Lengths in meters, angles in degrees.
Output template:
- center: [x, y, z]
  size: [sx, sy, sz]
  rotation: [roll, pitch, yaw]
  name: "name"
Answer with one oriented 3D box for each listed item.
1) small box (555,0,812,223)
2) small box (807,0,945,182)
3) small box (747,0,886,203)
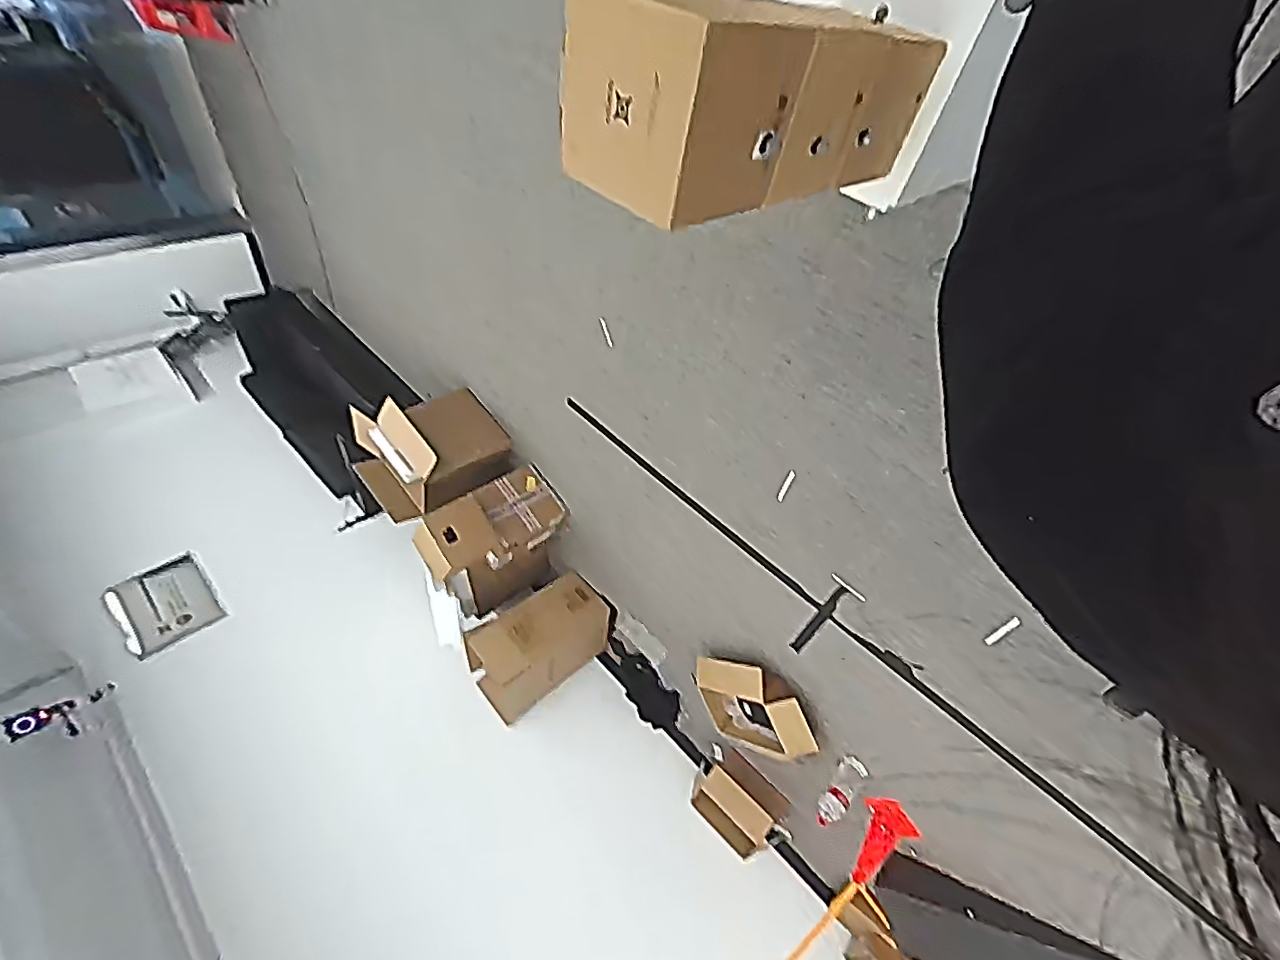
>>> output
- center: [0.035, -0.386, 0.545]
  size: [0.179, 0.176, 0.168]
  rotation: [40, 143, 24]
  name: "small box"
- center: [0.263, -0.528, 0.730]
  size: [0.179, 0.176, 0.168]
  rotation: [42, 142, 23]
  name: "small box"
- center: [0.151, -0.456, 0.637]
  size: [0.179, 0.176, 0.168]
  rotation: [41, 142, 24]
  name: "small box"
